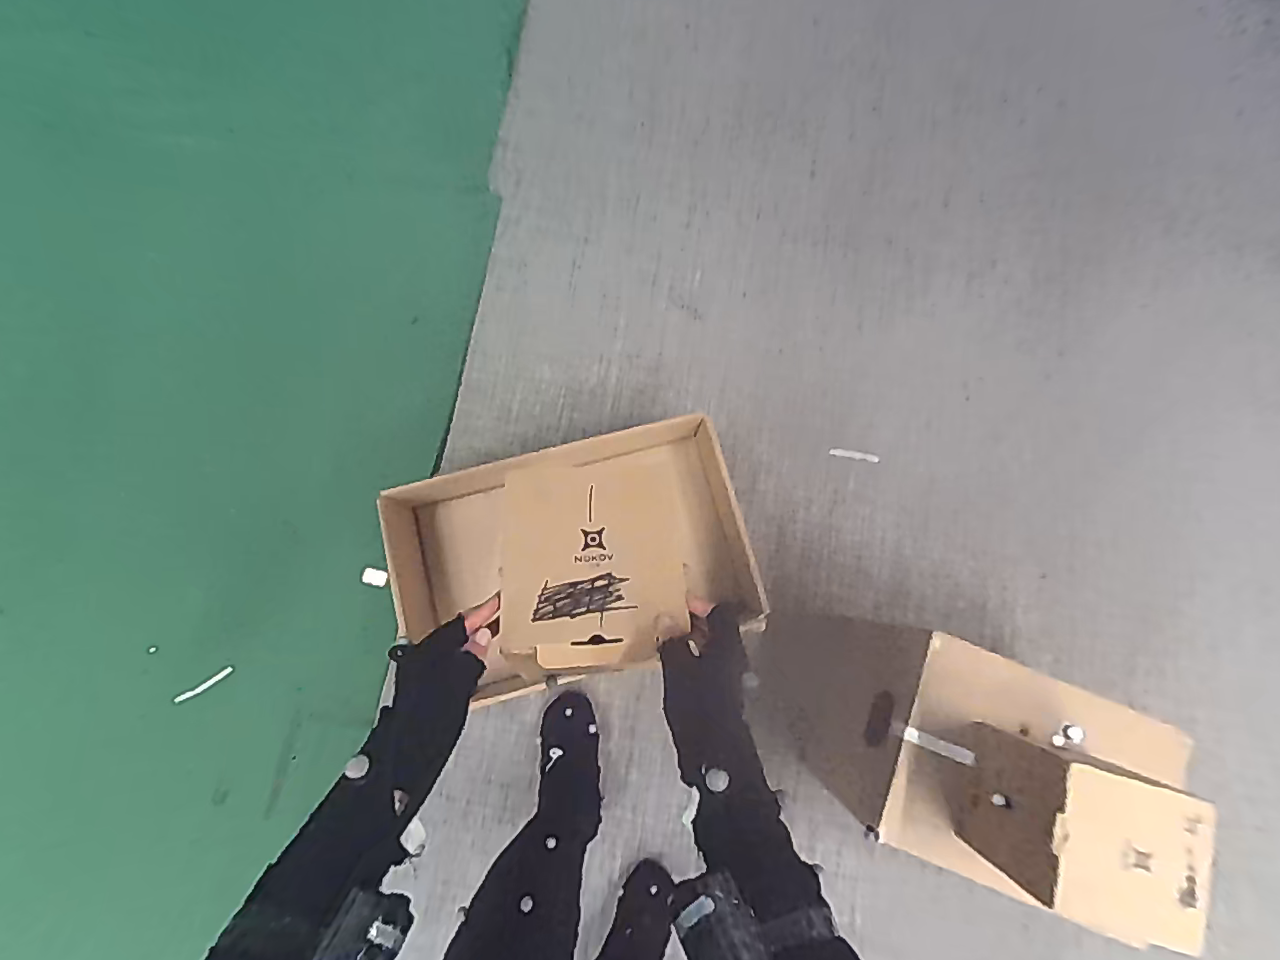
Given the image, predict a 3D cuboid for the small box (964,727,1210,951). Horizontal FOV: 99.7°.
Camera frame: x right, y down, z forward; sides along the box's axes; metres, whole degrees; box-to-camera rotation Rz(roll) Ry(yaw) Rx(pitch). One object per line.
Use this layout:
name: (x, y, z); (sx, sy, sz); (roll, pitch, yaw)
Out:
small box: (0.555, 0.437, 0.694); (0.179, 0.176, 0.168); (16, 80, 2)

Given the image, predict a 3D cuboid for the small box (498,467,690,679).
small box: (-0.046, 0.105, 0.561); (0.168, 0.176, 0.179); (-3, 62, -5)
